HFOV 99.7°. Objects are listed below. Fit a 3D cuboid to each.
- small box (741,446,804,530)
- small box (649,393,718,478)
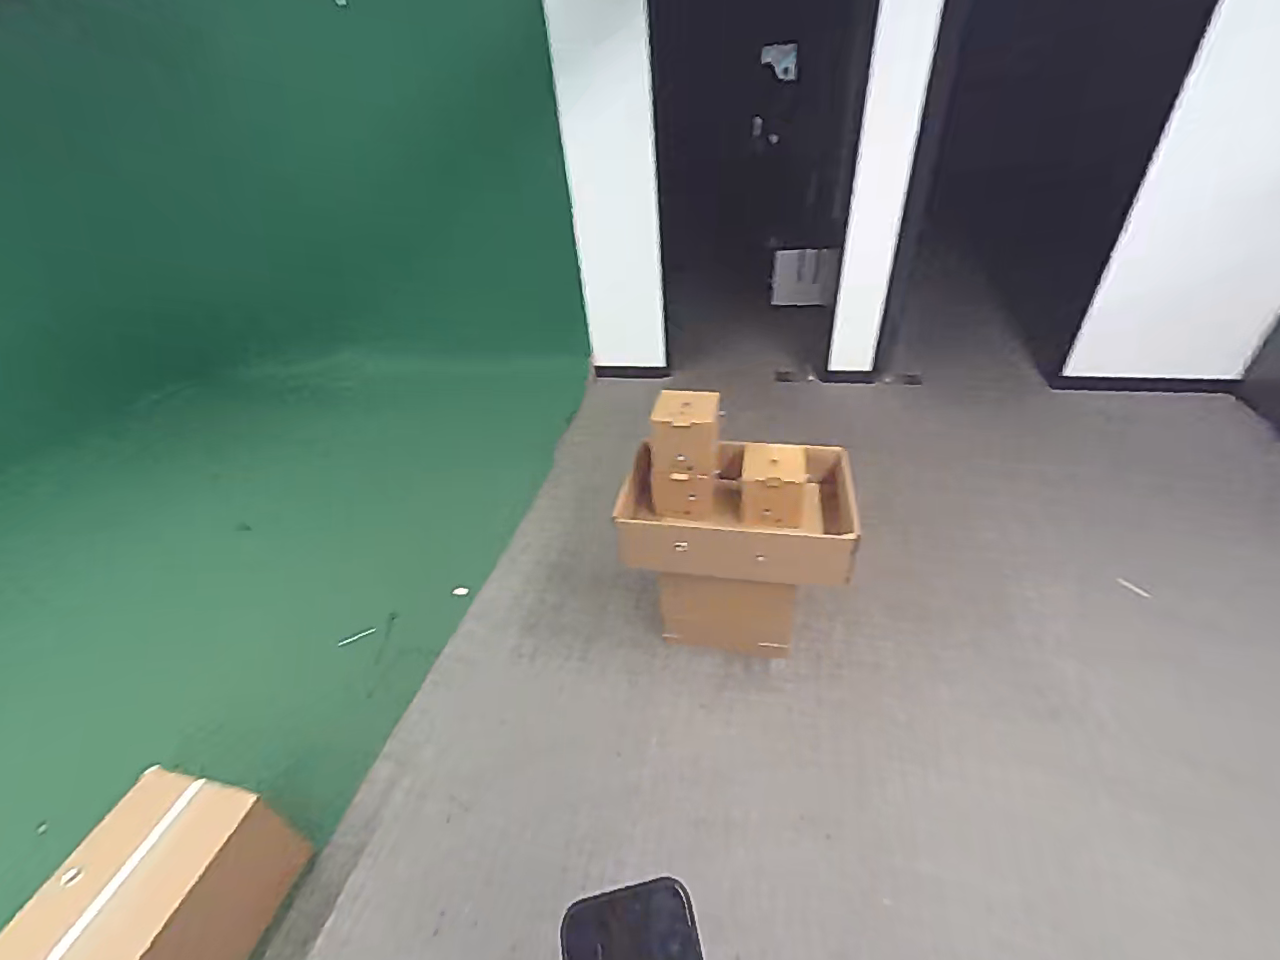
[{"bbox_3d":[0.378,0.022,1.555,0.168,0.176,0.179,2,38,12],"label":"small box"},{"bbox_3d":[0.125,-0.127,1.512,0.168,0.176,0.179,4,37,12],"label":"small box"}]
